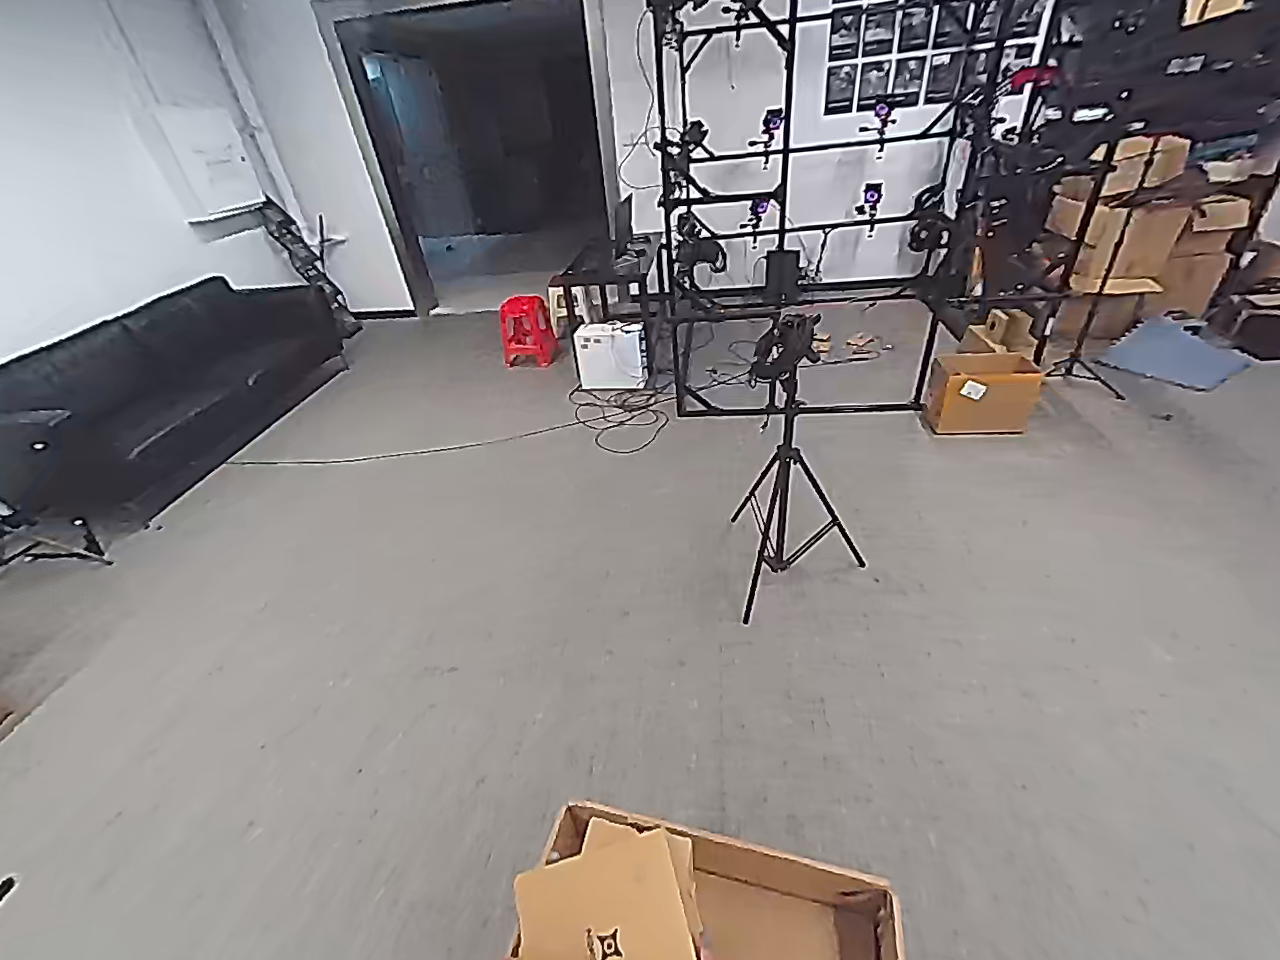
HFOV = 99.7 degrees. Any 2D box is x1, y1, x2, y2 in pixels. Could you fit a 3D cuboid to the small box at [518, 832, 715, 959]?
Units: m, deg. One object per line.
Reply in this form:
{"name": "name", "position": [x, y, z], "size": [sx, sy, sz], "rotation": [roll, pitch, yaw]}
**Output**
{"name": "small box", "position": [-0.016, 0.514, 0.599], "size": [0.179, 0.176, 0.168], "rotation": [-19, 51, -1]}

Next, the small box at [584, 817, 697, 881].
{"name": "small box", "position": [-0.009, 0.659, 0.822], "size": [0.168, 0.176, 0.179], "rotation": [5, 35, 13]}
